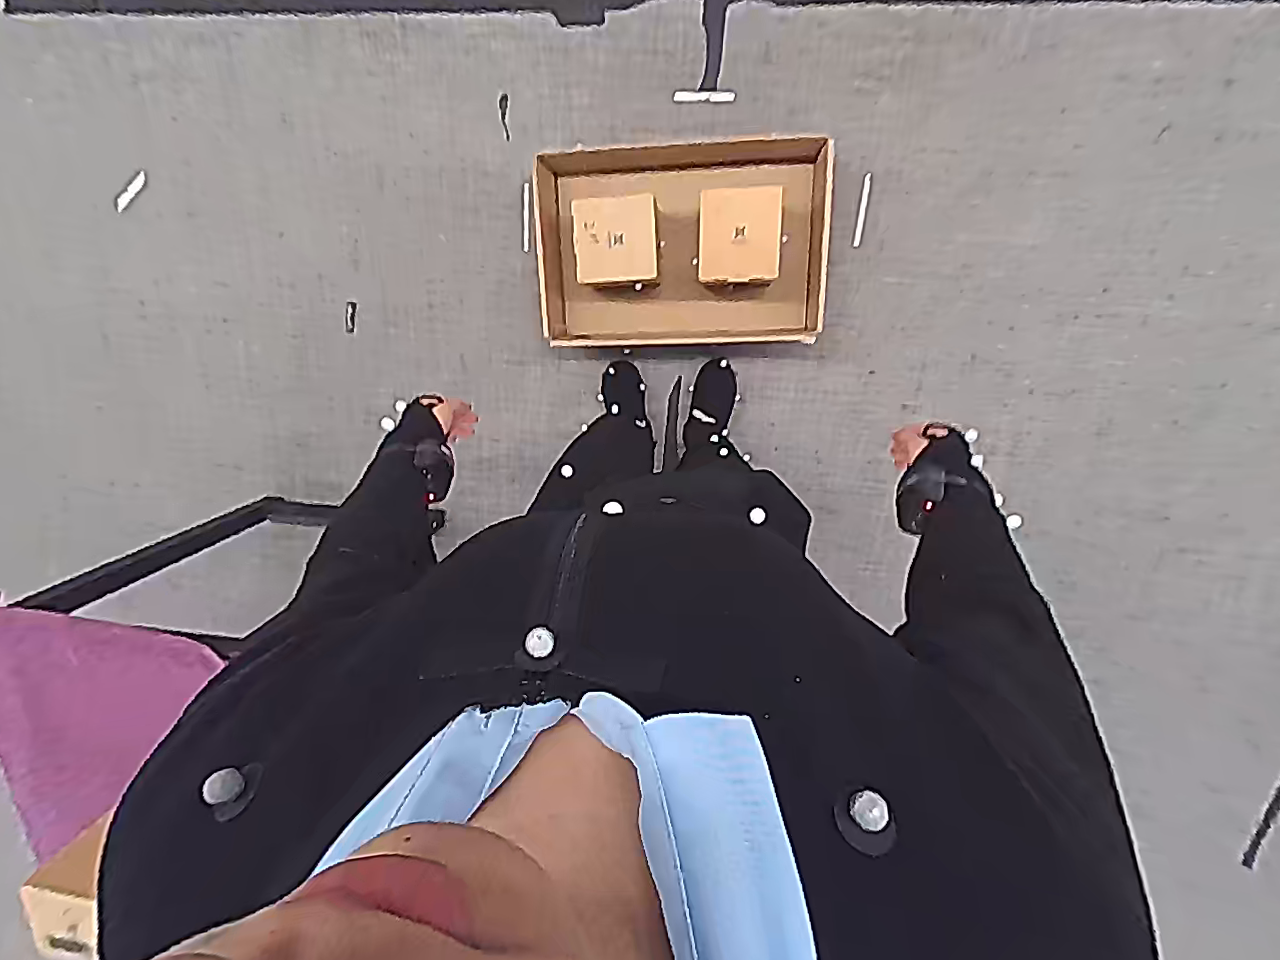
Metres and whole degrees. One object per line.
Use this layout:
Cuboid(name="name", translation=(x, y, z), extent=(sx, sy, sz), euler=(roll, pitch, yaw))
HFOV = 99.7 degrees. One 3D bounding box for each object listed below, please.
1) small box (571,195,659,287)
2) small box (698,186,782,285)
Cuboid(name="small box", translation=(-0.047, -0.526, 1.207), extent=(0.179, 0.176, 0.168), euler=(-1, 106, 6))
Cuboid(name="small box", translation=(0.211, -0.524, 1.178), extent=(0.168, 0.176, 0.179), euler=(1, 107, 7))
